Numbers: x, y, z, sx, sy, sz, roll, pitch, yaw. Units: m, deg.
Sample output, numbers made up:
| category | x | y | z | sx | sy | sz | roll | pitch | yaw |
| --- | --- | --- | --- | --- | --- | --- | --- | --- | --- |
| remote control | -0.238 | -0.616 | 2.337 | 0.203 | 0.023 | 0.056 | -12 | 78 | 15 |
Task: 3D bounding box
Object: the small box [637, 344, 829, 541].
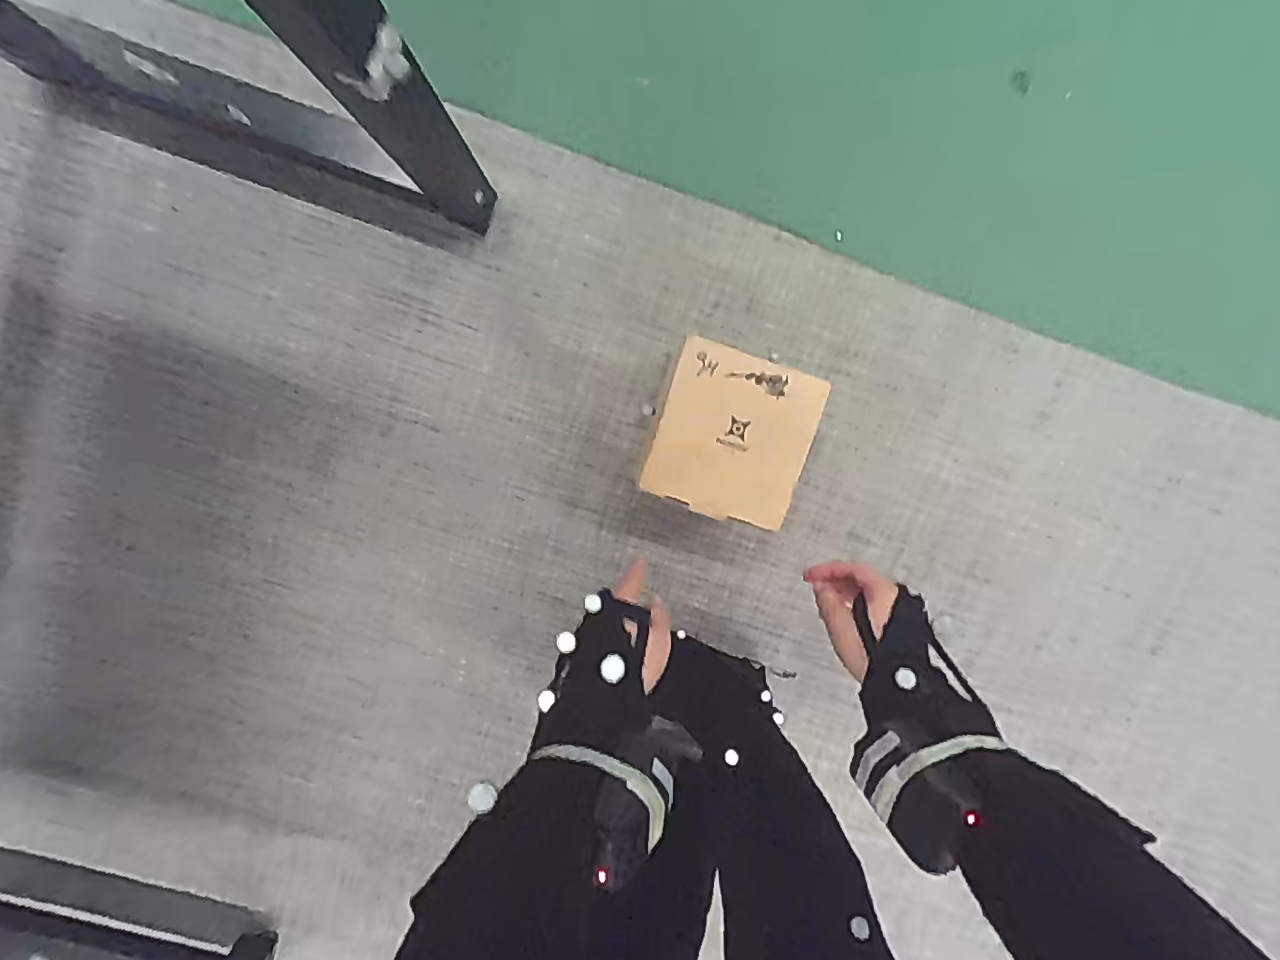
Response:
| category | x | y | z | sx | sy | sz | roll | pitch | yaw |
| --- | --- | --- | --- | --- | --- | --- | --- | --- | --- |
| small box | 0.101 | -0.047 | 0.664 | 0.168 | 0.176 | 0.179 | 18 | 95 | -3 |
